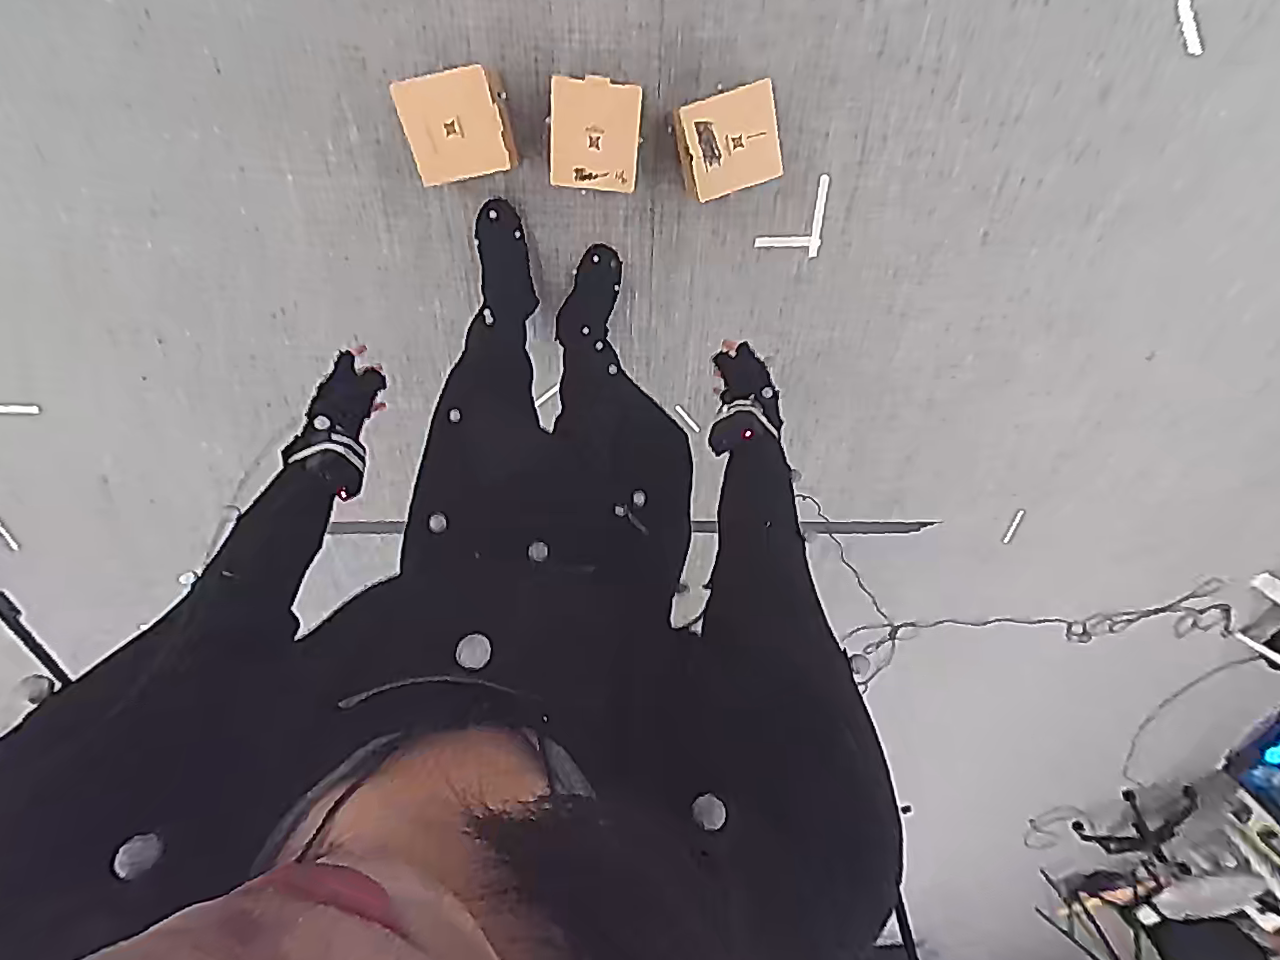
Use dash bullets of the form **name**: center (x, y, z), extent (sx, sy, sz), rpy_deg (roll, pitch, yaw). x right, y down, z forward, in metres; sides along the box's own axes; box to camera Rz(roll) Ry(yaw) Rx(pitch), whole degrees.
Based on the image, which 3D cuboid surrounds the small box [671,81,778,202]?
- **small box**: center (0.165, -0.685, 1.103), extent (0.179, 0.176, 0.168), rpy_deg (-16, 123, 4)

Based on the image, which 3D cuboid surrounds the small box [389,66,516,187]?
- **small box**: center (-0.351, -0.688, 1.056), extent (0.179, 0.176, 0.168), rpy_deg (-10, 122, 3)

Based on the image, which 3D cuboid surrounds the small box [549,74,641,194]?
- **small box**: center (-0.095, -0.686, 1.080), extent (0.168, 0.176, 0.179), rpy_deg (3, 123, -7)
